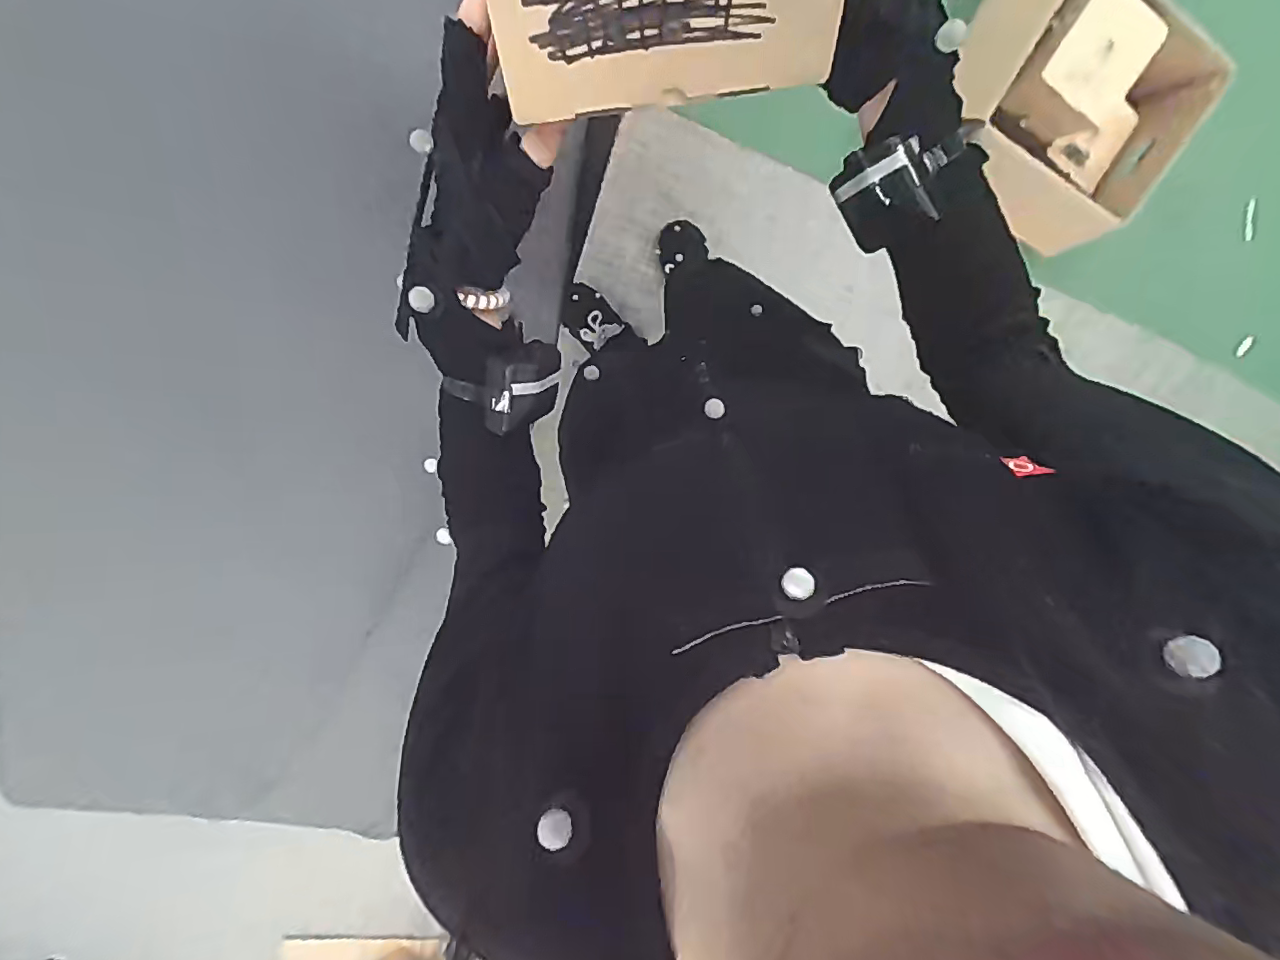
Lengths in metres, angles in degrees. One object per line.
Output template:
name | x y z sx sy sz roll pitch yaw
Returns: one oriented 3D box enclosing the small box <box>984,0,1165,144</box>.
small box | 0.817 -0.791 1.039 0.168 0.176 0.179 26 107 -14
